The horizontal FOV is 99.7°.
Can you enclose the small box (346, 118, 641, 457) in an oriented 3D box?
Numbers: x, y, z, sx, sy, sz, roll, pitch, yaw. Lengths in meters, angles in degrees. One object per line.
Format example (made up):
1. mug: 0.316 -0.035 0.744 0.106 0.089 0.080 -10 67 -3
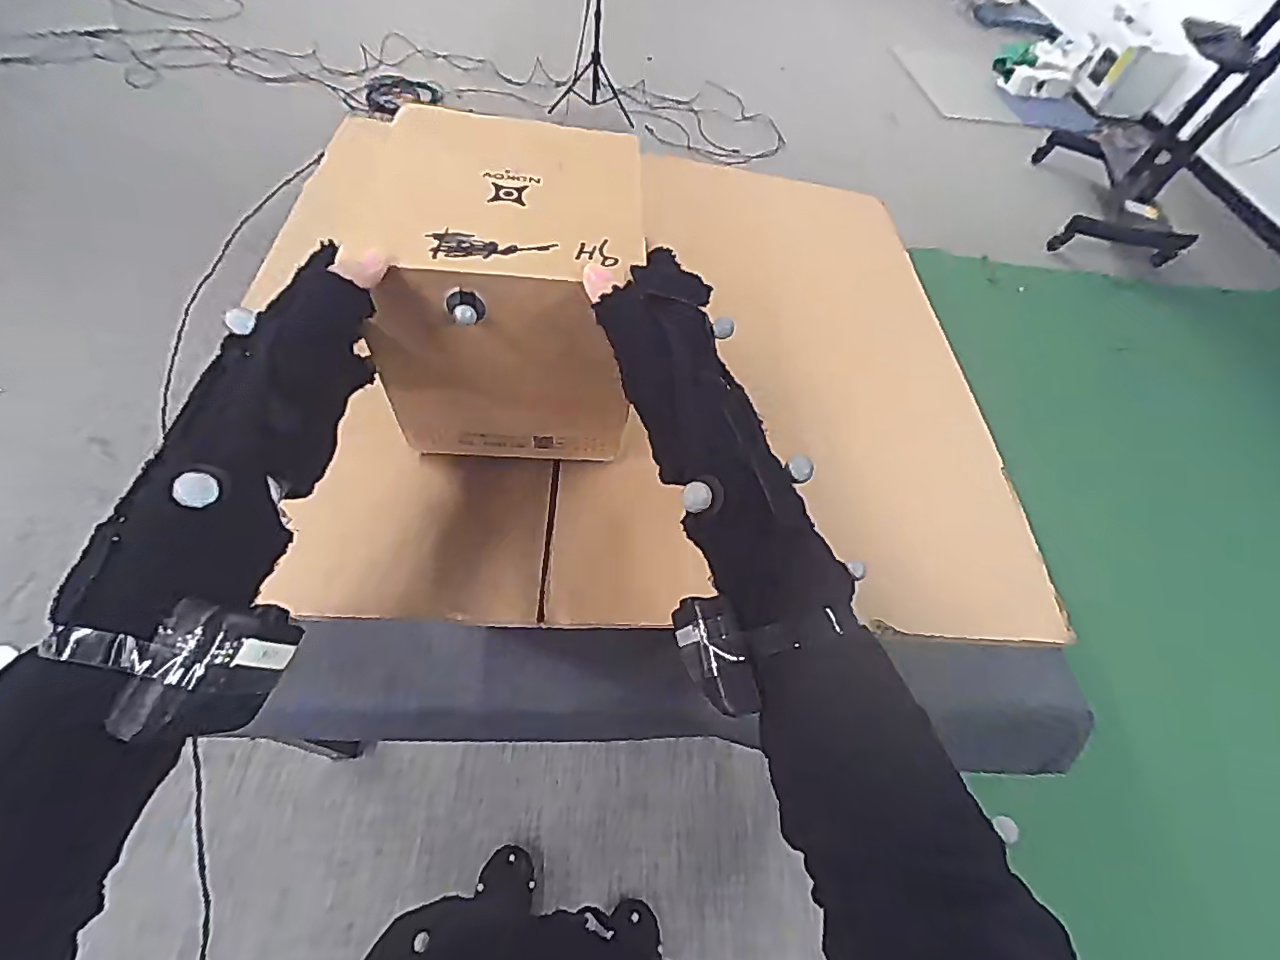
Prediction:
1. small box: -0.092 -0.140 0.414 0.168 0.176 0.179 2 55 -6
